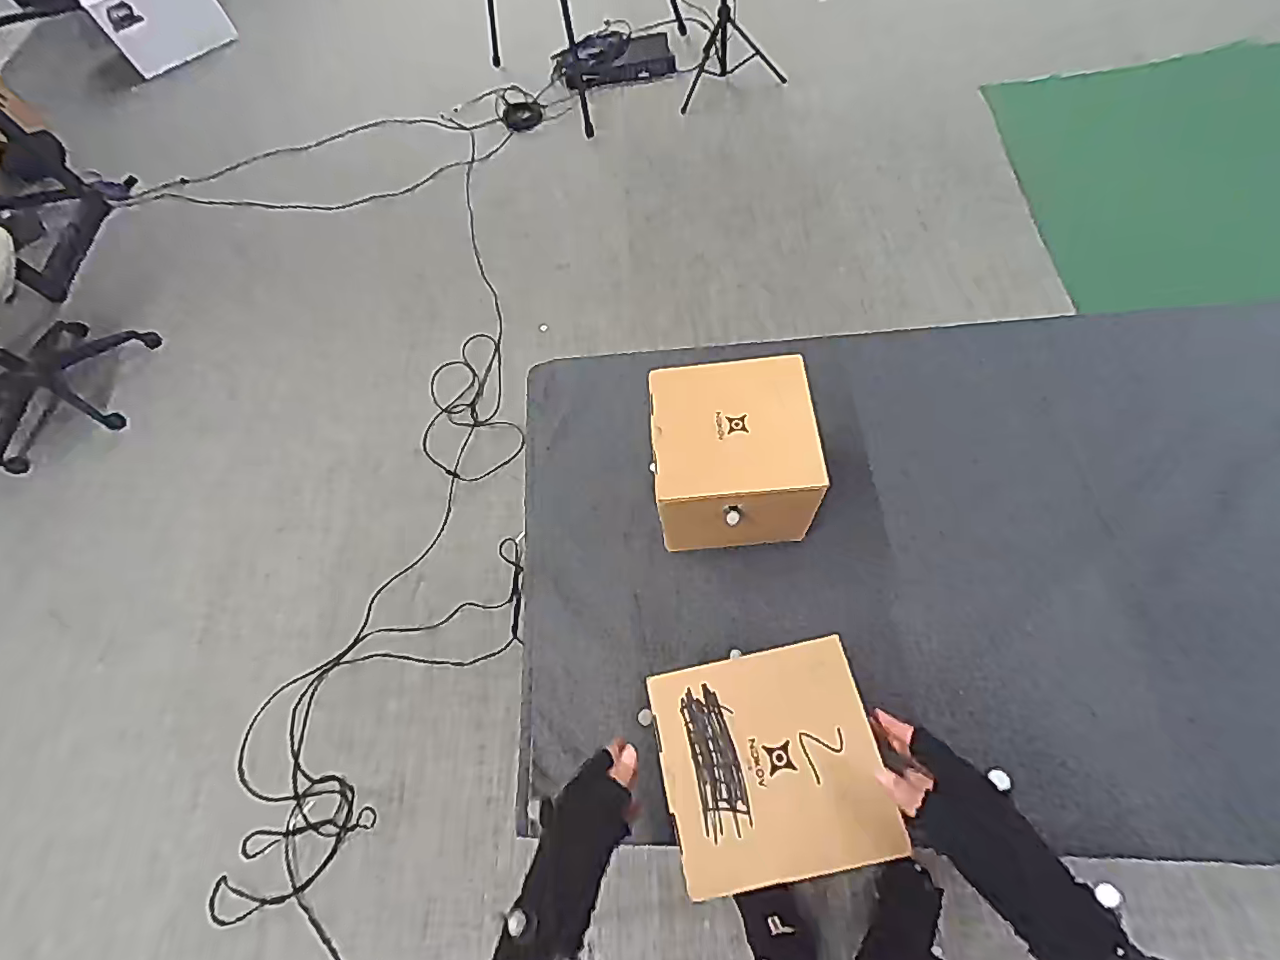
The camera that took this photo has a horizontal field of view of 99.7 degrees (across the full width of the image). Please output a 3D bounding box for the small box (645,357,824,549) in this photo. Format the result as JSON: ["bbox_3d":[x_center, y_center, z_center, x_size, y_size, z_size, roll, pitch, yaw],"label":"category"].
[{"bbox_3d":[0.105,-0.023,0.649,0.179,0.176,0.168,-6,65,6],"label":"small box"}]
